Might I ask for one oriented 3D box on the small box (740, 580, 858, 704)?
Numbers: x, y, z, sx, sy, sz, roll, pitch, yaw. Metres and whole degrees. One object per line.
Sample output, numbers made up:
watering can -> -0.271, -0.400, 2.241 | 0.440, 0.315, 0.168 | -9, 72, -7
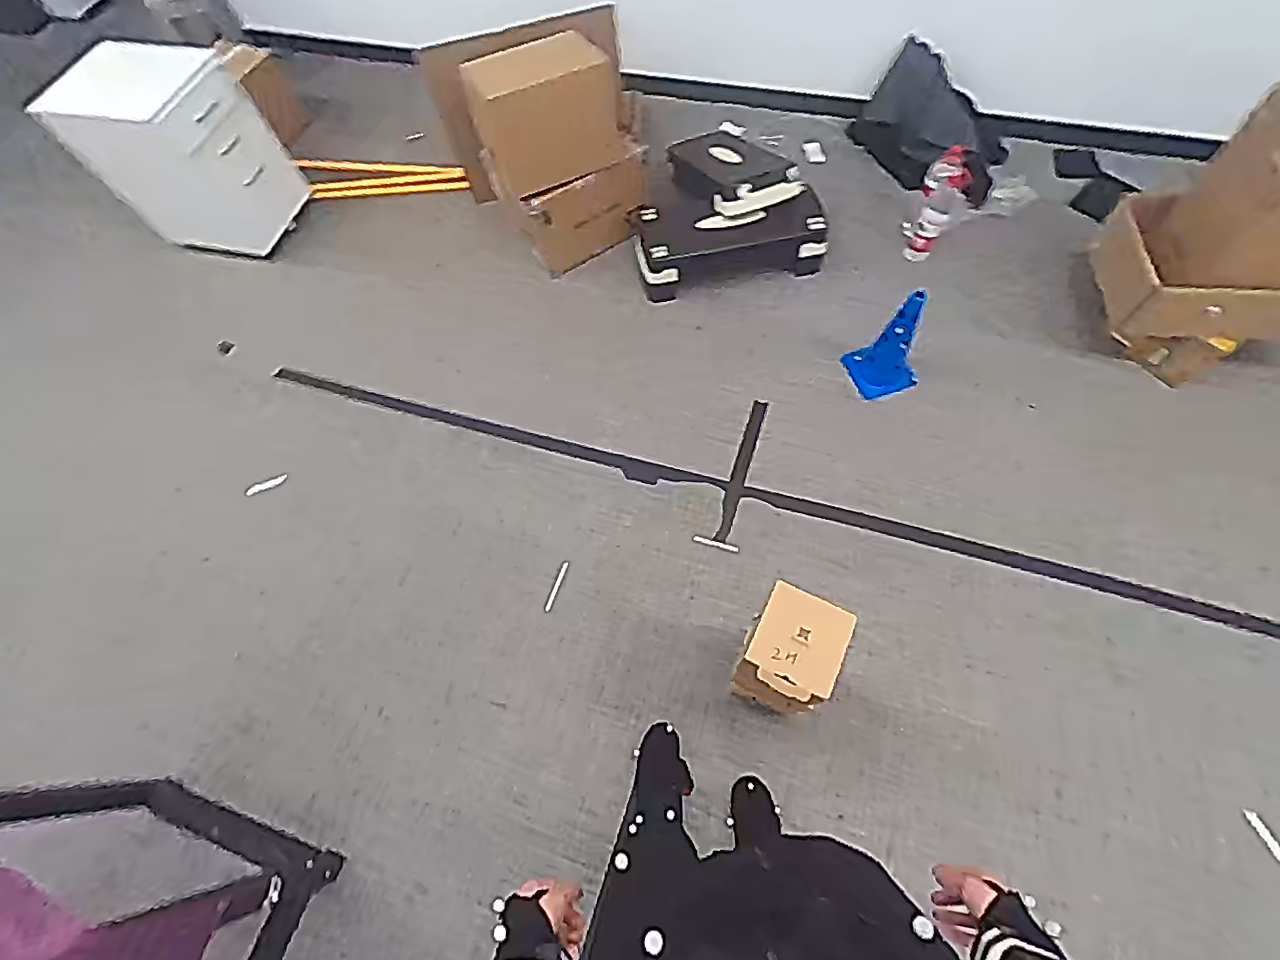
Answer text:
small box -> 0.314, 0.334, 1.103 | 0.168, 0.176, 0.179 | 25, 69, 15

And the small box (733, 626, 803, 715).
small box -> 0.343, 0.489, 1.394 | 0.168, 0.176, 0.179 | 19, 68, 13
